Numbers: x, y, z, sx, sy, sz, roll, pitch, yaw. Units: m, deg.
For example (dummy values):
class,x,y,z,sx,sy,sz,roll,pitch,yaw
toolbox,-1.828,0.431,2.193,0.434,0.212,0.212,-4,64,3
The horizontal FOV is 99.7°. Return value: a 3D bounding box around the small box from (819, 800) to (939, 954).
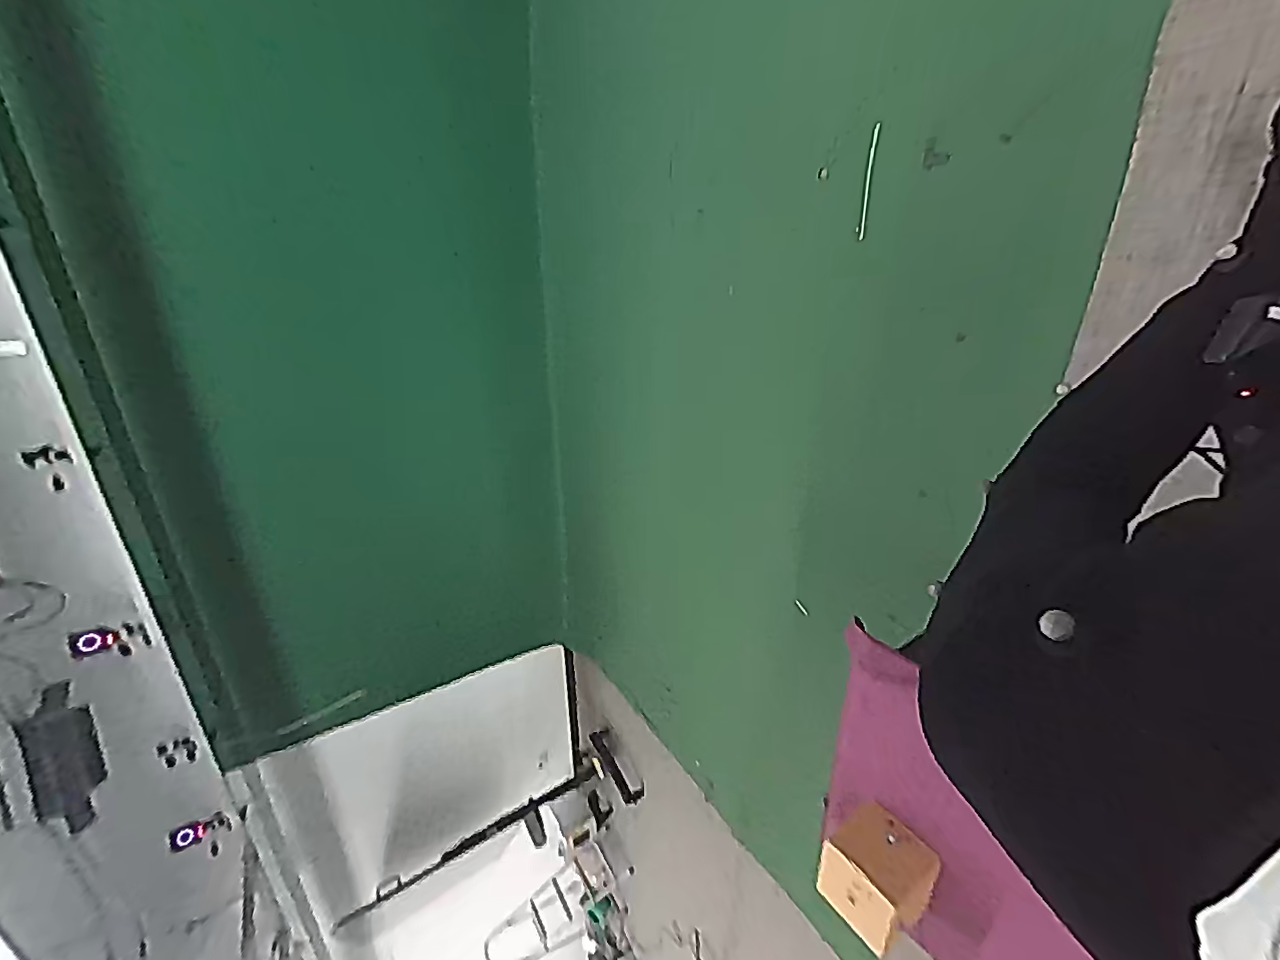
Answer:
class,x,y,z,sx,sy,sz,roll,pitch,yaw
small box,0.519,0.854,1.177,0.168,0.176,0.179,28,126,49
